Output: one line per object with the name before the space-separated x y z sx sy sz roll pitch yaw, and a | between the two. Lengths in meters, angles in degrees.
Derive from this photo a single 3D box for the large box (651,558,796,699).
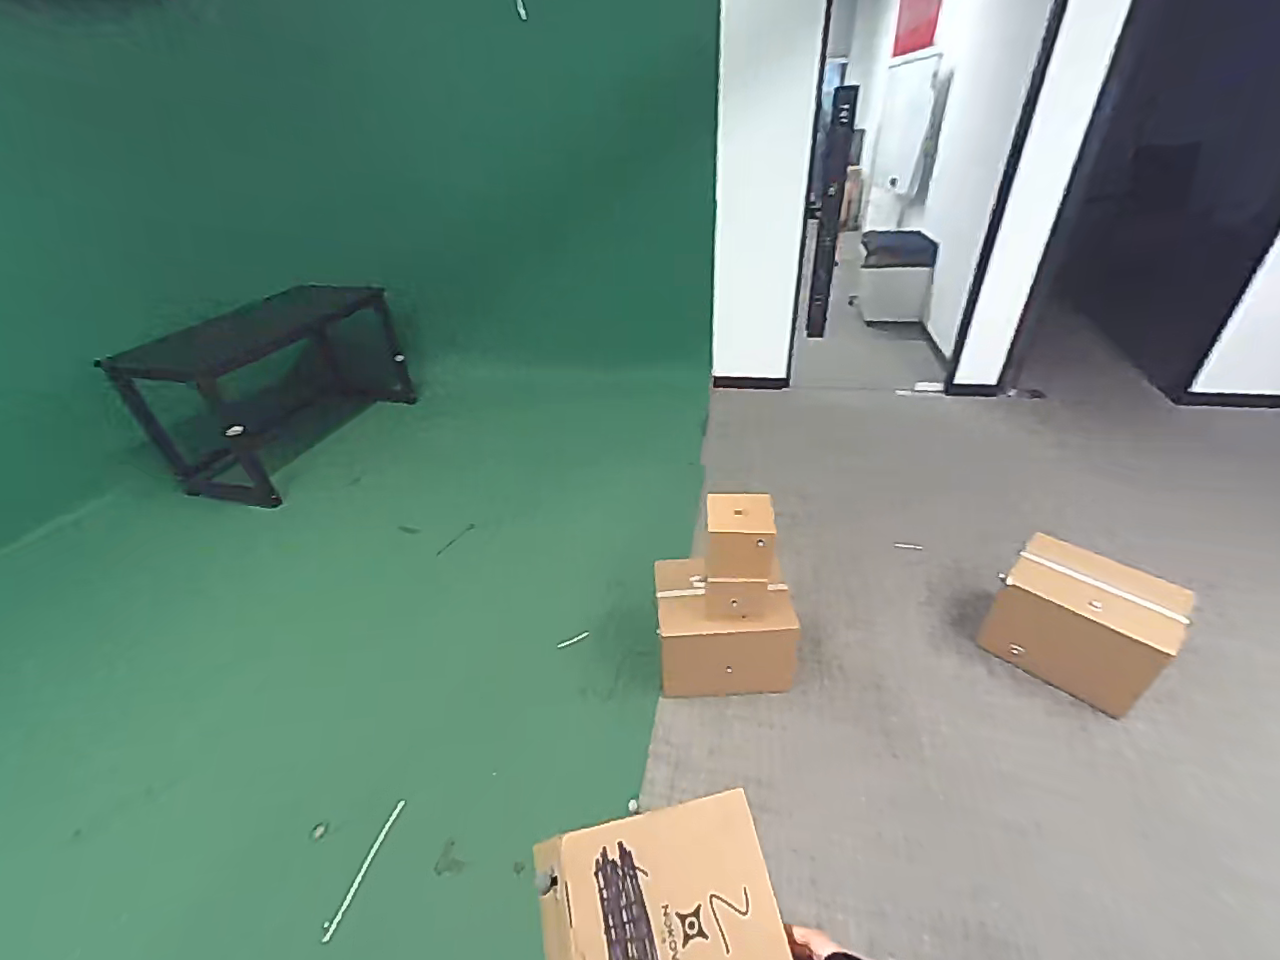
large box | 0.251 0.472 1.741 0.408 0.320 0.320 -5 34 0

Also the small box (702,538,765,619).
small box | 0.267 0.287 1.574 0.168 0.176 0.179 0 36 4

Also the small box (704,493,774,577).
small box | 0.264 0.150 1.486 0.179 0.176 0.168 1 36 5
